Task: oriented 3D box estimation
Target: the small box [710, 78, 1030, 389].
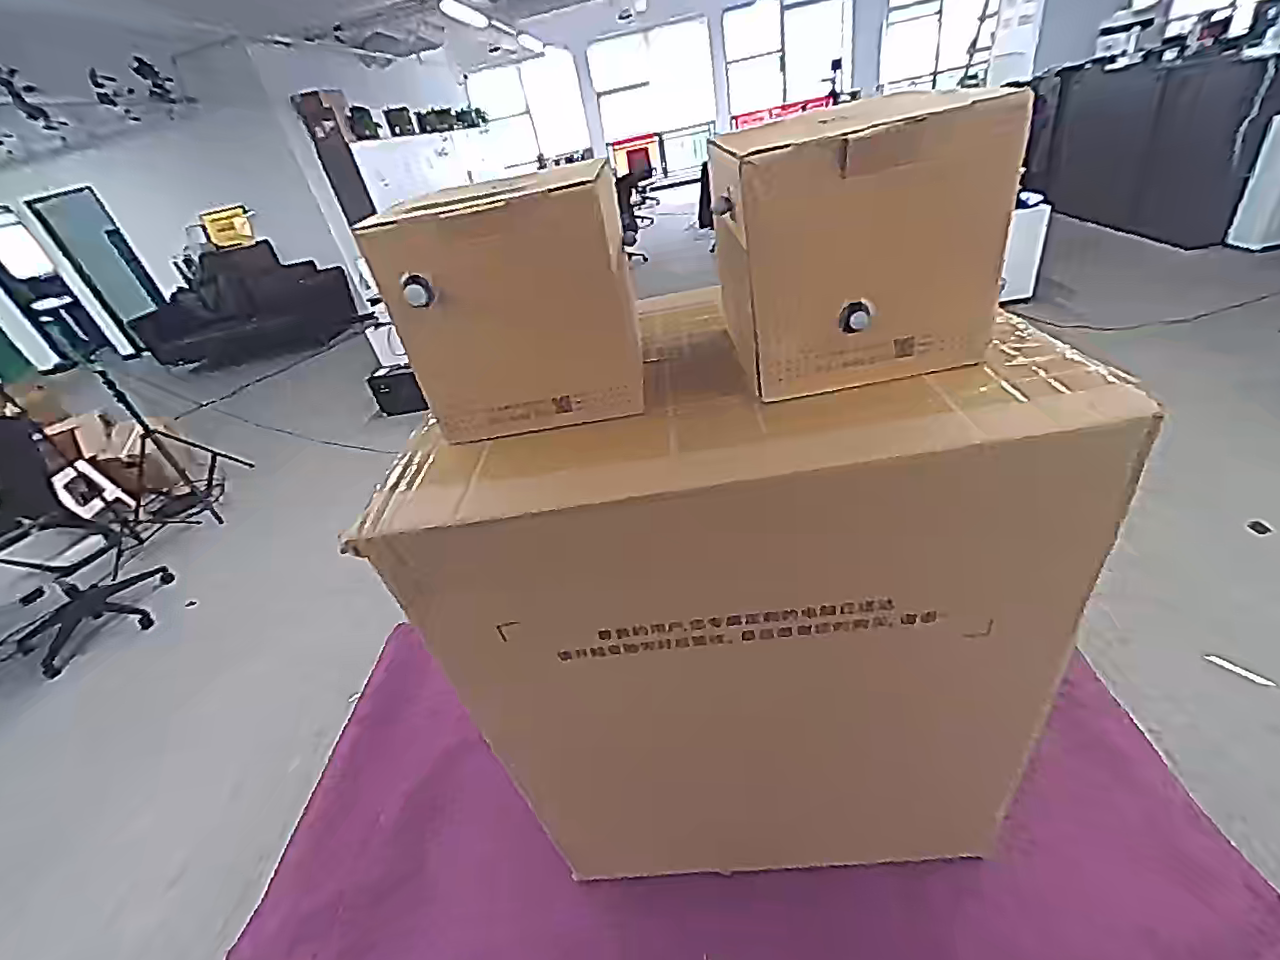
[{"bbox_3d":[0.153,-0.190,0.423,0.168,0.176,0.179,-10,35,5],"label":"small box"}]
